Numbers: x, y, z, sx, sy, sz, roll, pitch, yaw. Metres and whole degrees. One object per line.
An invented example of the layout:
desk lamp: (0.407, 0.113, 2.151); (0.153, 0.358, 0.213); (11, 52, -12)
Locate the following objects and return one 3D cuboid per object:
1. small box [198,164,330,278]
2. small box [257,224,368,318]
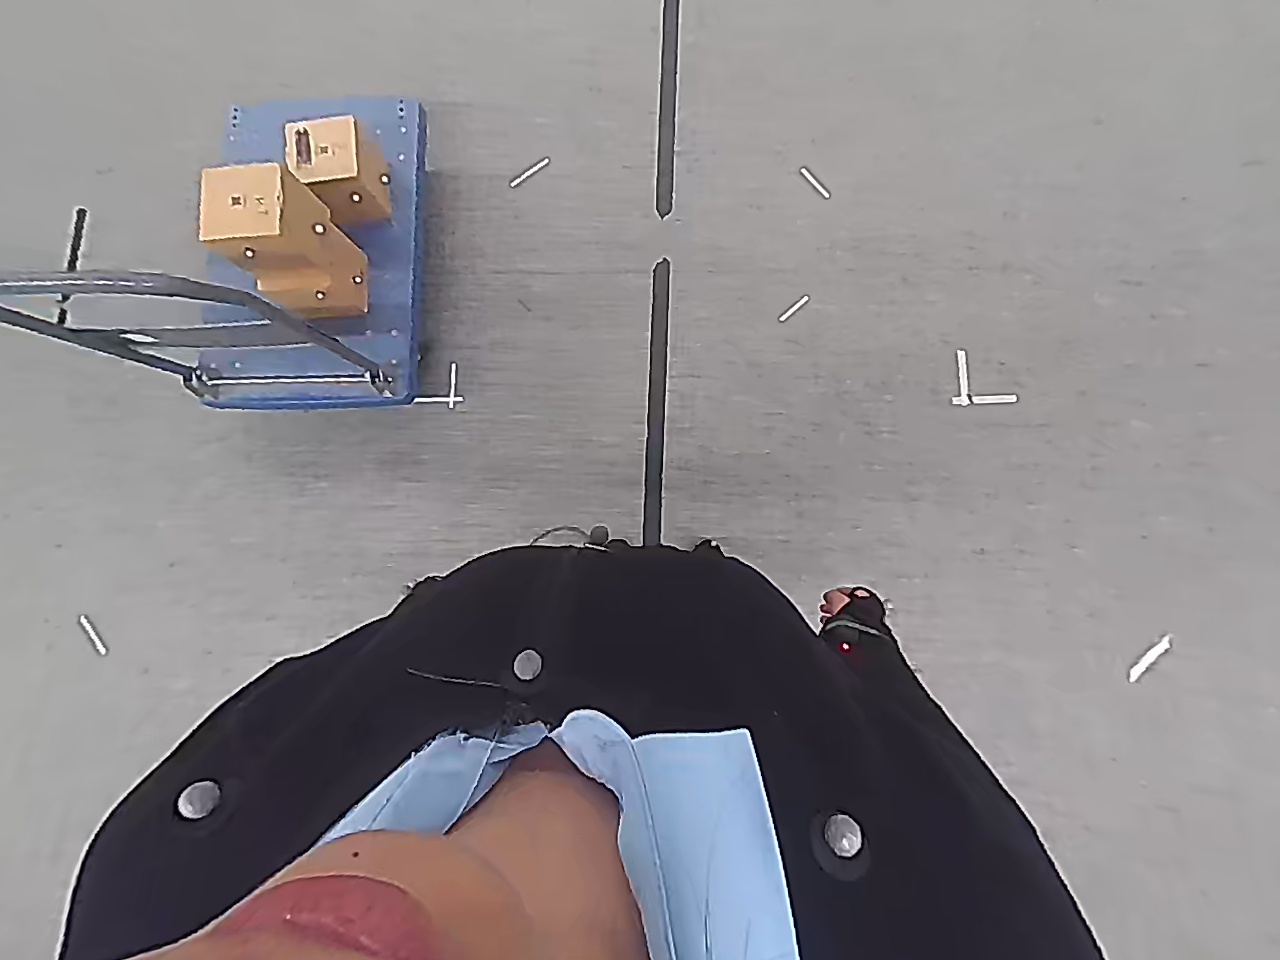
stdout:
small box: (-0.827, -0.566, 1.202); (0.179, 0.176, 0.168); (-3, 83, 2)
small box: (-0.818, -0.520, 1.362); (0.179, 0.176, 0.168); (-4, 83, 2)
